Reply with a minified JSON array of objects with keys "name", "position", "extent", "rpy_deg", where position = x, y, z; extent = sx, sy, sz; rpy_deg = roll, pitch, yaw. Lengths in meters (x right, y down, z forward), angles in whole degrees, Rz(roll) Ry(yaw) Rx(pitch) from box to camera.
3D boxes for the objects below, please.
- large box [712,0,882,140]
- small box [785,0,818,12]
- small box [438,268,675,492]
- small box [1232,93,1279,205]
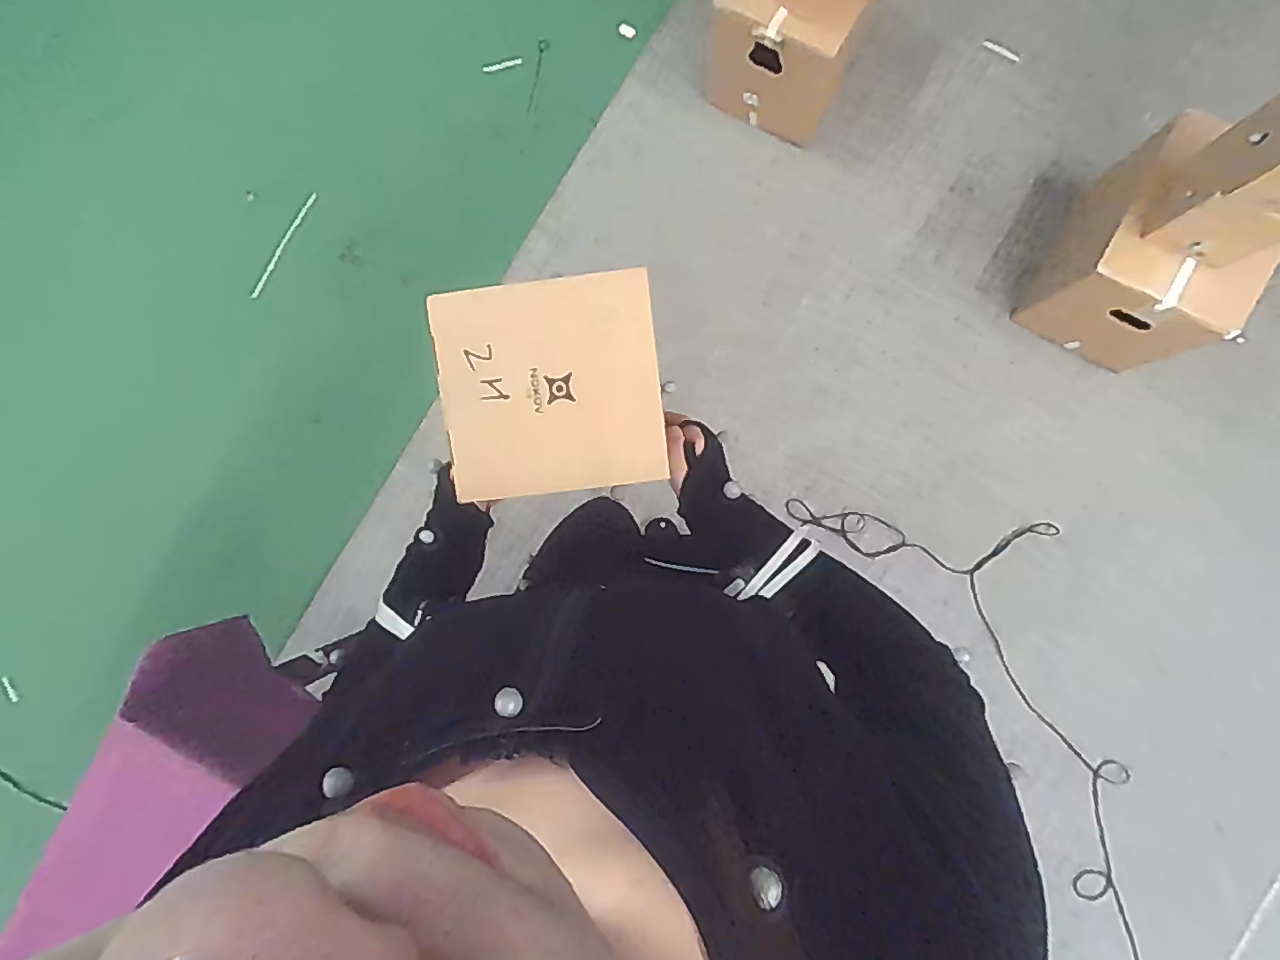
[{"name":"large box","position":[0.410,-1.184,1.366],"extent":[0.320,0.320,0.408],"rpy_deg":[30,90,5]},{"name":"small box","position":[0.357,-1.153,1.125],"extent":[0.168,0.176,0.179],"rpy_deg":[41,92,6]},{"name":"small box","position":[-0.064,-0.087,0.509],"extent":[0.179,0.176,0.168],"rpy_deg":[-6,96,3]},{"name":"small box","position":[1.140,-0.563,0.874],"extent":[0.168,0.176,0.179],"rpy_deg":[21,91,7]}]
